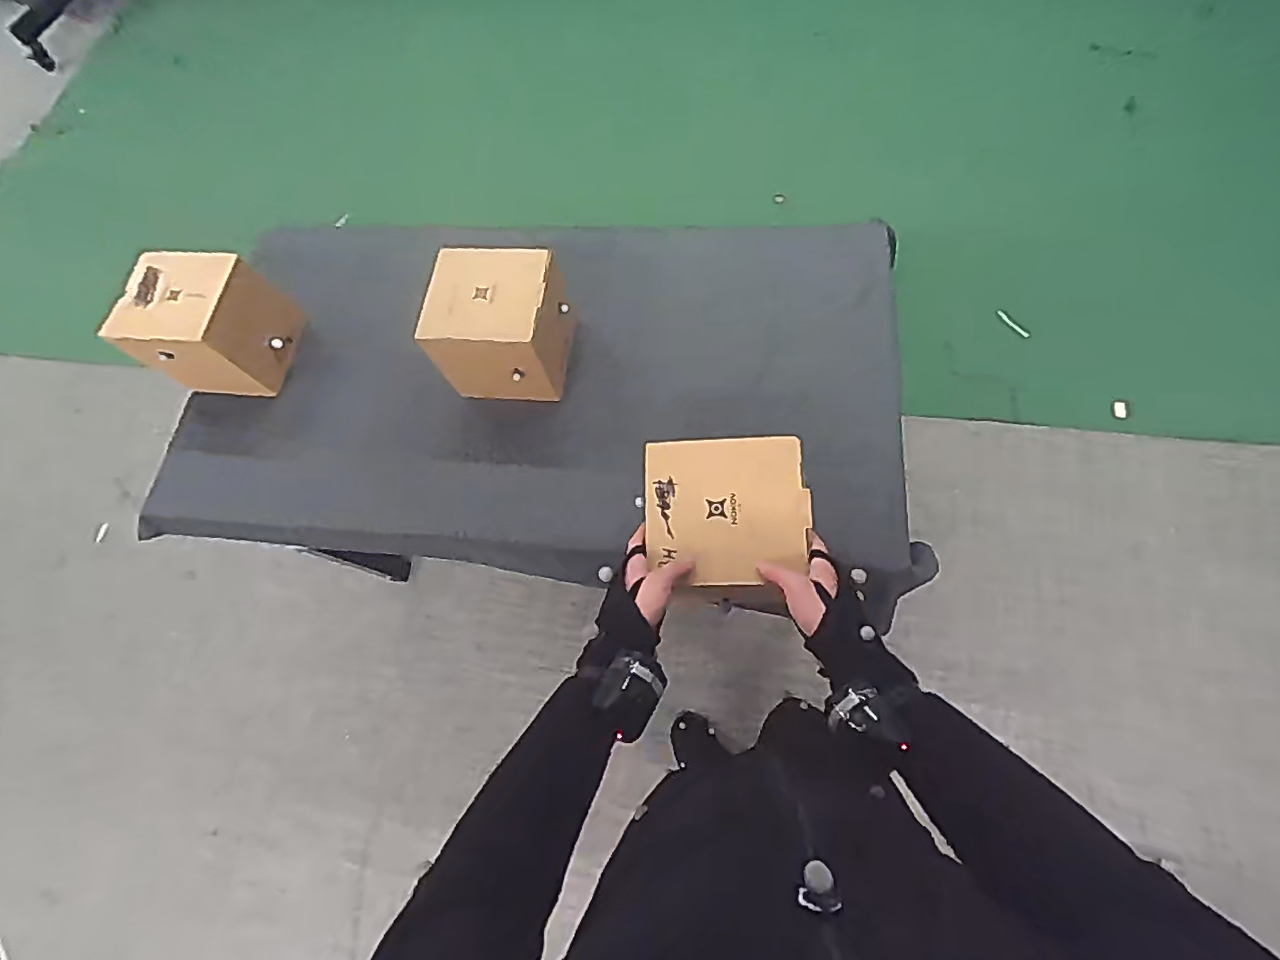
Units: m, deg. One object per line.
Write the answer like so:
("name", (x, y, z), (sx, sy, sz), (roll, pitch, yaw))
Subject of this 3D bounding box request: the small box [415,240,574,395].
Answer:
("small box", (-0.209, -0.242, 0.835), (0.179, 0.176, 0.168), (3, 69, 8))

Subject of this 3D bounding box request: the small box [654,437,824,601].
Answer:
("small box", (0.109, 0.054, 0.653), (0.179, 0.176, 0.168), (-1, 72, 5))

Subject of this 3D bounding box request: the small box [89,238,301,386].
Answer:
("small box", (-0.711, -0.268, 0.886), (0.179, 0.176, 0.168), (5, 71, 6))
